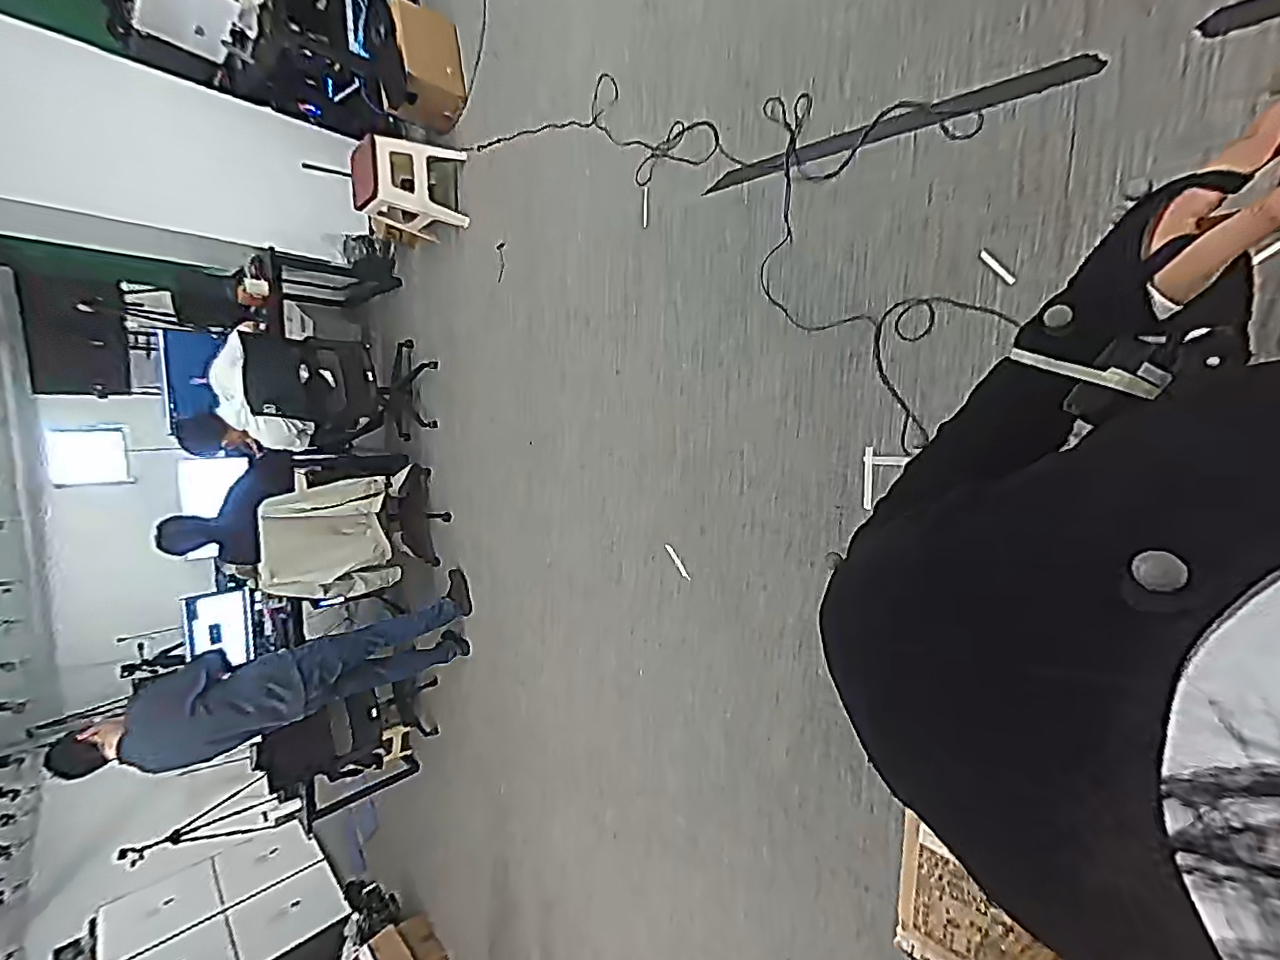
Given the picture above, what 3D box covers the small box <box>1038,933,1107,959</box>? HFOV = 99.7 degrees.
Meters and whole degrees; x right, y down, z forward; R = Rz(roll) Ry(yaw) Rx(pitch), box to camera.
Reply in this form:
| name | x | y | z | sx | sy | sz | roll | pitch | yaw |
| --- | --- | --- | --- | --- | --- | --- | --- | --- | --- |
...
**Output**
| name | x | y | z | sx | sy | sz | roll | pitch | yaw |
| --- | --- | --- | --- | --- | --- | --- | --- | --- | --- |
| small box | 0.665 | 0.828 | 0.779 | 0.168 | 0.176 | 0.179 | 6 | 97 | 43 |
